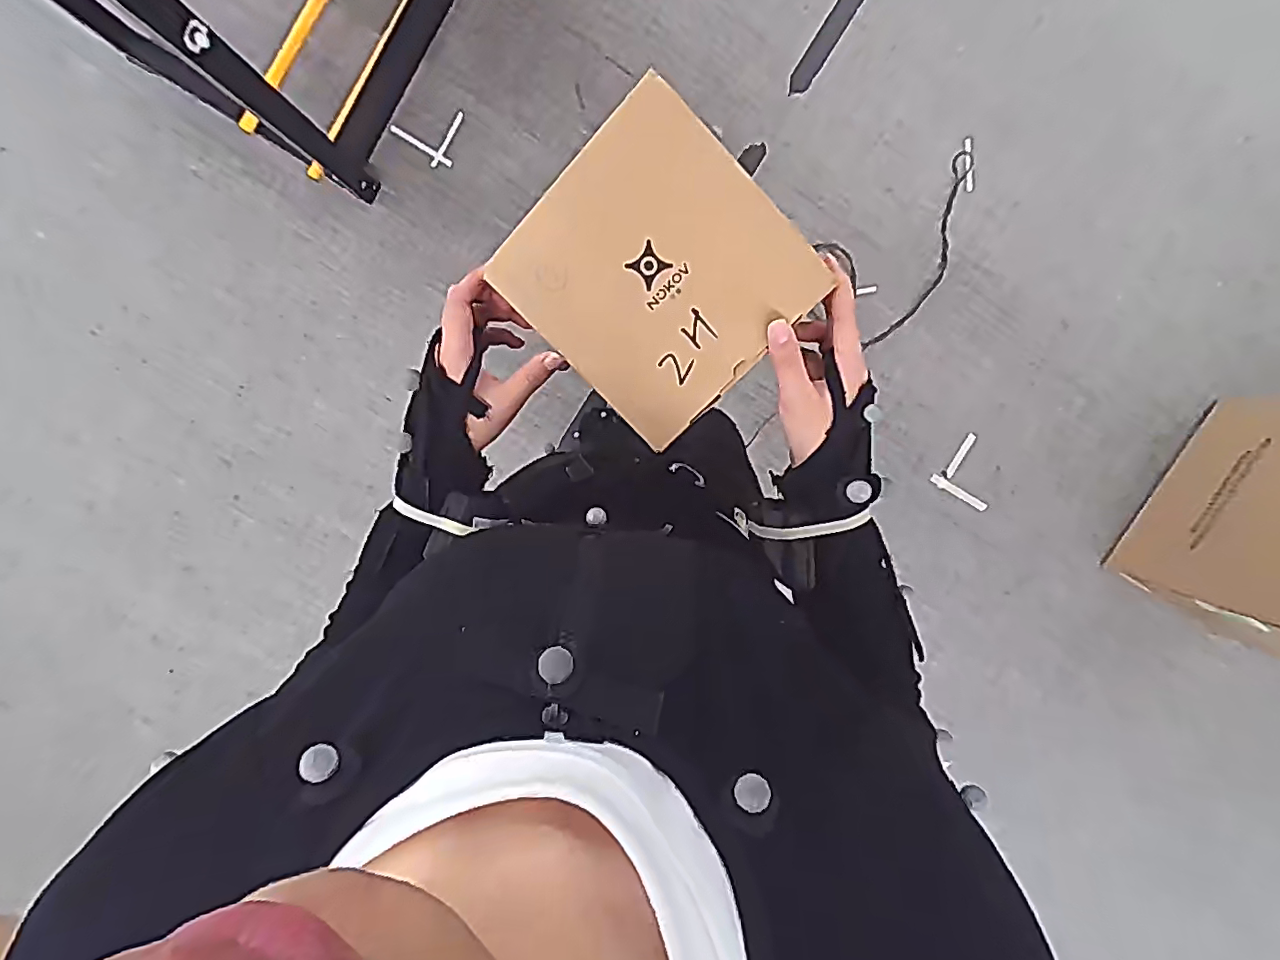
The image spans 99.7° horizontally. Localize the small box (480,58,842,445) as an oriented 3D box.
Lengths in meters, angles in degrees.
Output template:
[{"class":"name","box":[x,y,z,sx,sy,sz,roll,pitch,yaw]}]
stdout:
[{"class":"small box","box":[0.016,-0.155,0.421,0.168,0.176,0.179,-43,99,14]}]
